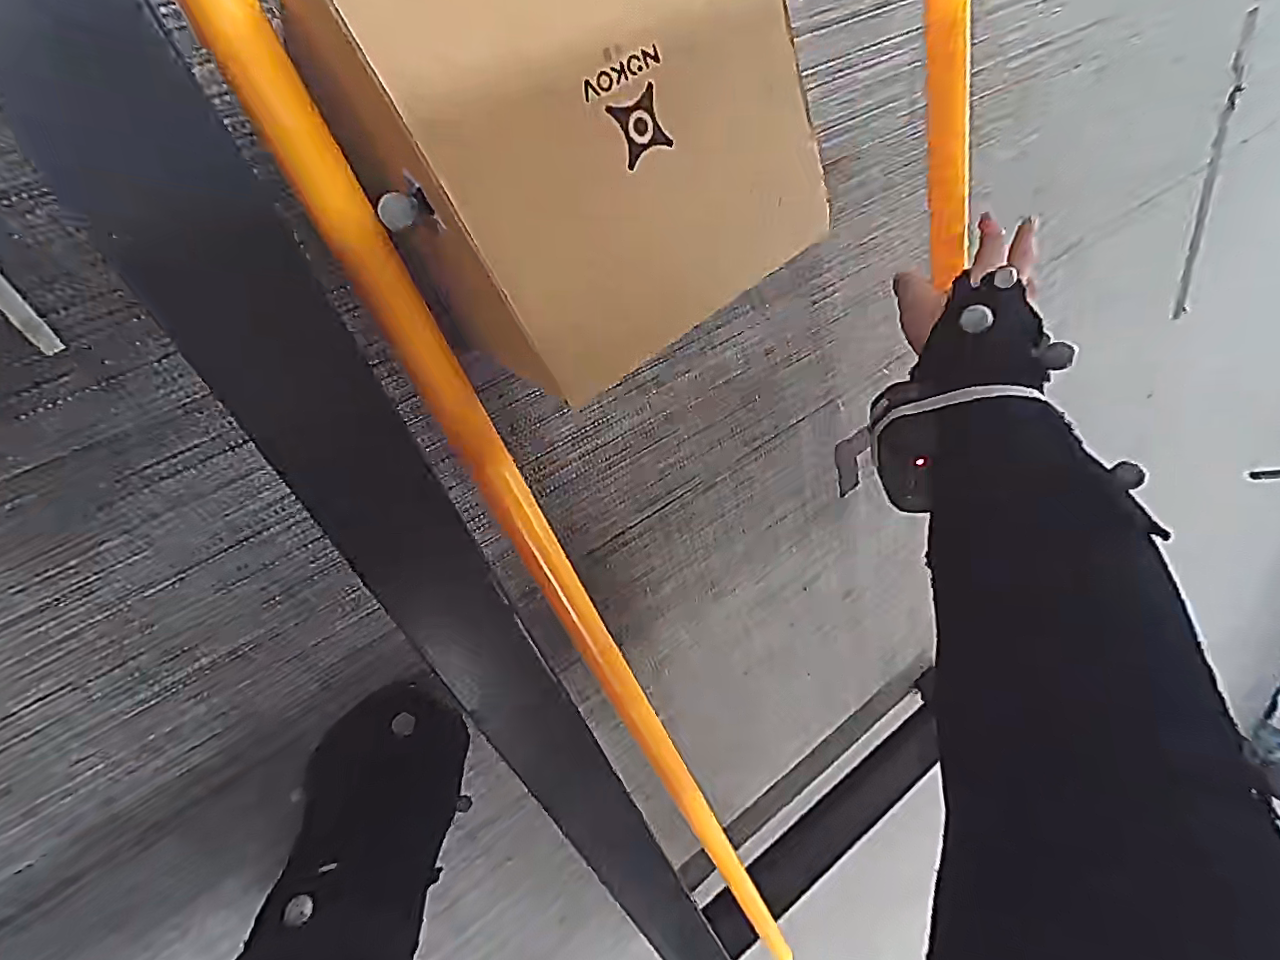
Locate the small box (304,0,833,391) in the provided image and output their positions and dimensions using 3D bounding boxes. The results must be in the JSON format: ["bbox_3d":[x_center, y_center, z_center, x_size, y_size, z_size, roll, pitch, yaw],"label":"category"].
[{"bbox_3d":[-0.037,-0.175,0.276,0.168,0.176,0.179,-37,123,-13],"label":"small box"}]
